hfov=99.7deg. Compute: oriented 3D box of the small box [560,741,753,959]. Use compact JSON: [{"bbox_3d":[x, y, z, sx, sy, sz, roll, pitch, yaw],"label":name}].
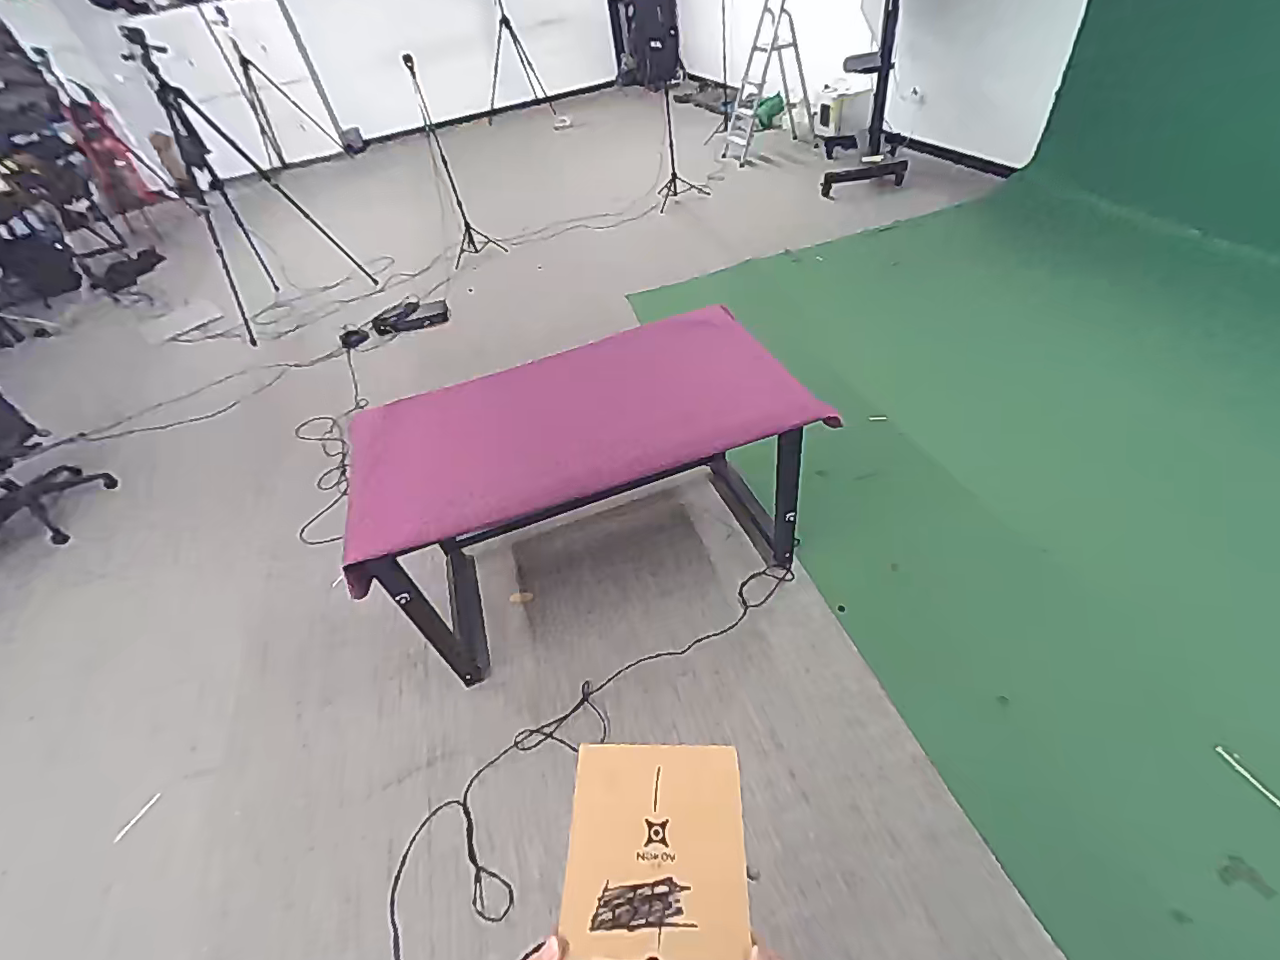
[{"bbox_3d":[0.025,0.391,0.561,0.168,0.176,0.179,-1,47,5],"label":"small box"}]
